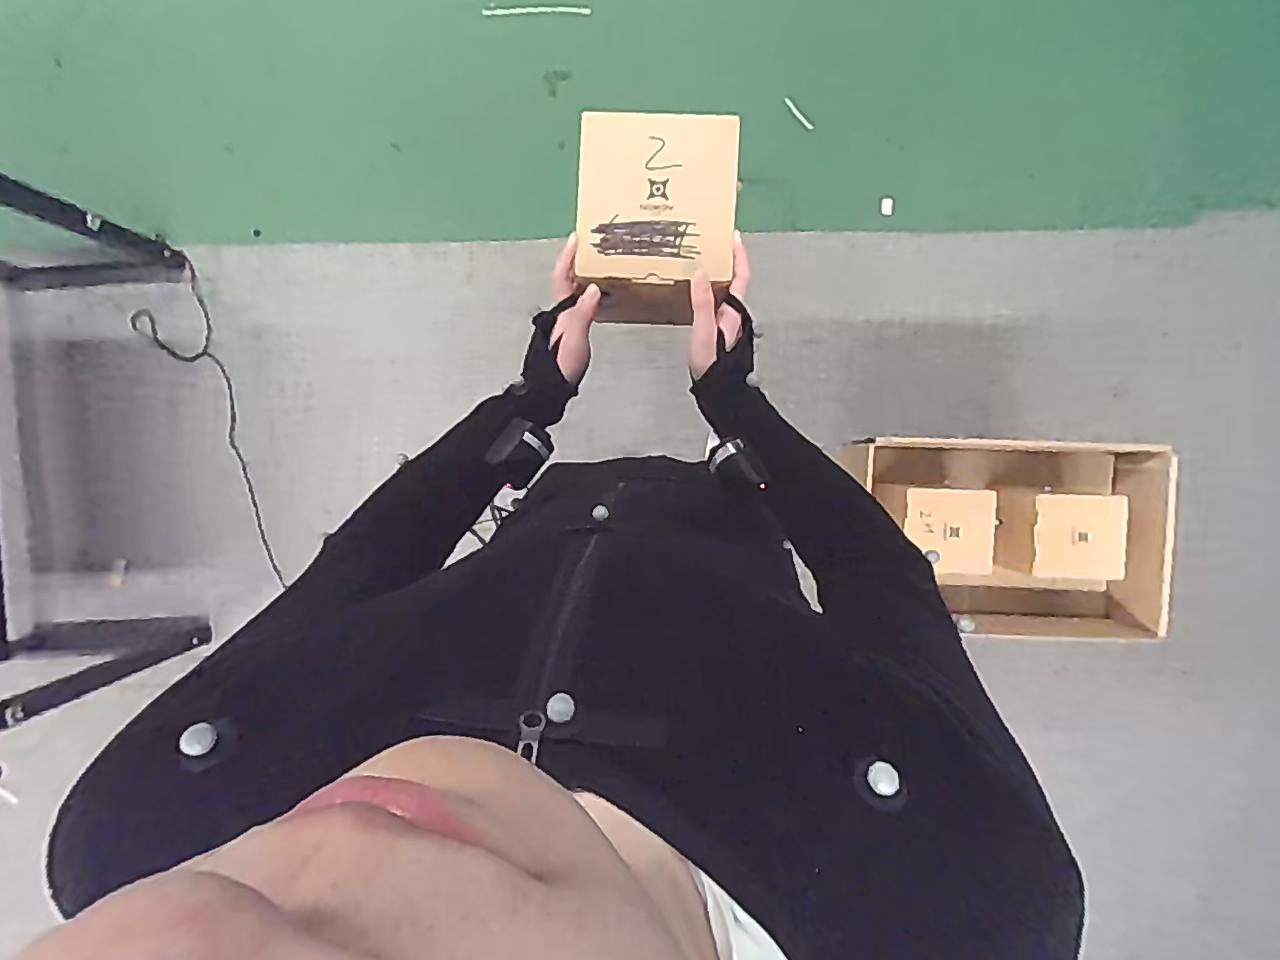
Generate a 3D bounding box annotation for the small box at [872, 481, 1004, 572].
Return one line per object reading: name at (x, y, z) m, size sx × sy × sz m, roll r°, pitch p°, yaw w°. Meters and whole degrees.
small box at (0.606, 0.089, 1.117) m, size 0.179 × 0.176 × 0.168 m, roll 3°, pitch 92°, yaw 0°

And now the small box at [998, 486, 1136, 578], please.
small box at (0.861, 0.100, 1.118) m, size 0.179 × 0.176 × 0.168 m, roll 1°, pitch 93°, yaw 2°
